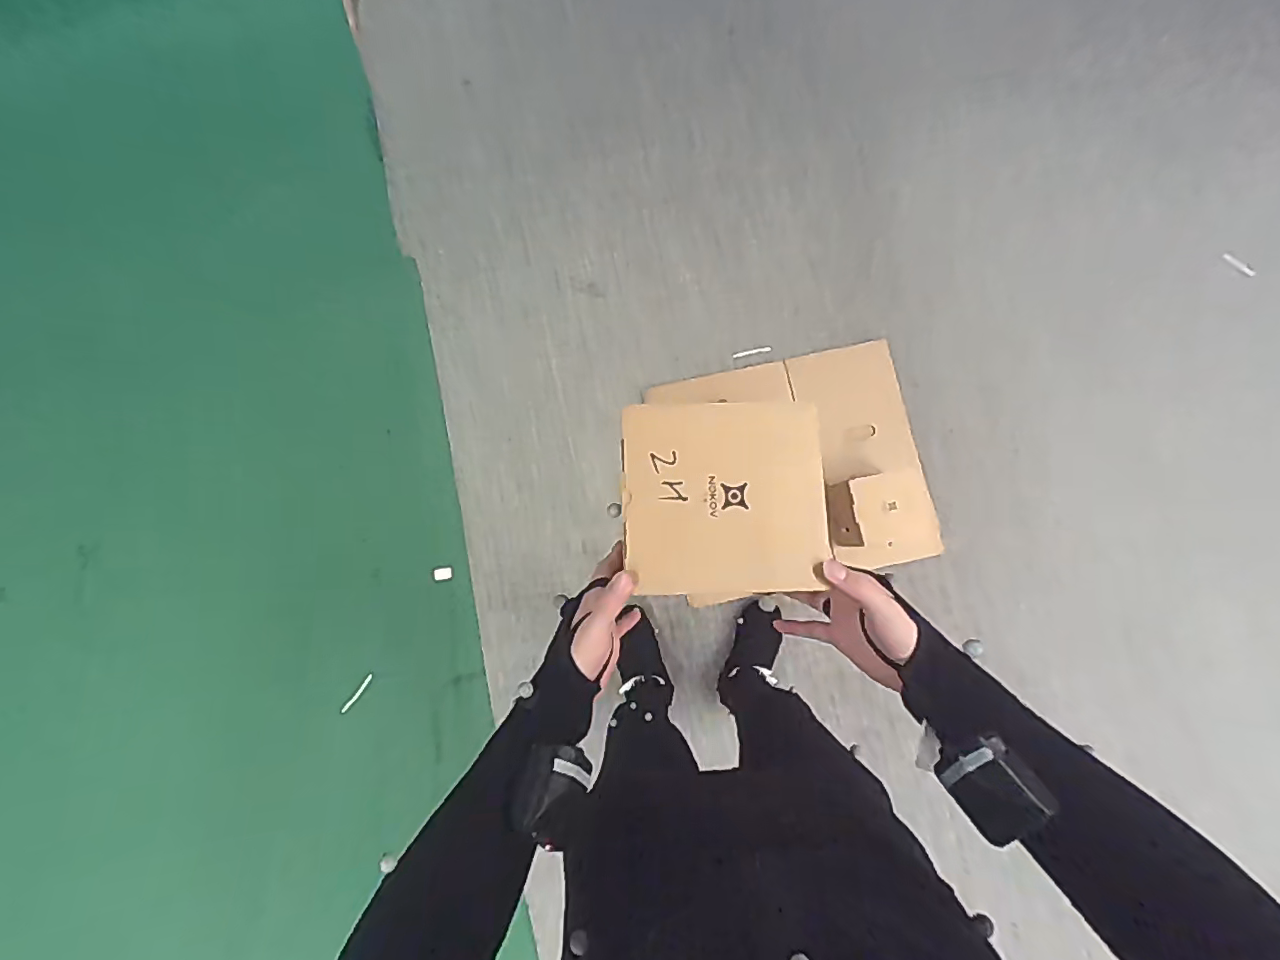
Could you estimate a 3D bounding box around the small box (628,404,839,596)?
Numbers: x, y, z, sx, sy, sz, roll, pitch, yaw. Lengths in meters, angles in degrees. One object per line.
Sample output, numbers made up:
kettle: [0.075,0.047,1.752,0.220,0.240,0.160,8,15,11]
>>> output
small box: [0.077,0.027,0.540,0.179,0.176,0.168,-2,80,0]

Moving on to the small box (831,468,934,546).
small box: [0.601,0.073,1.369,0.179,0.176,0.168,-11,84,-1]
